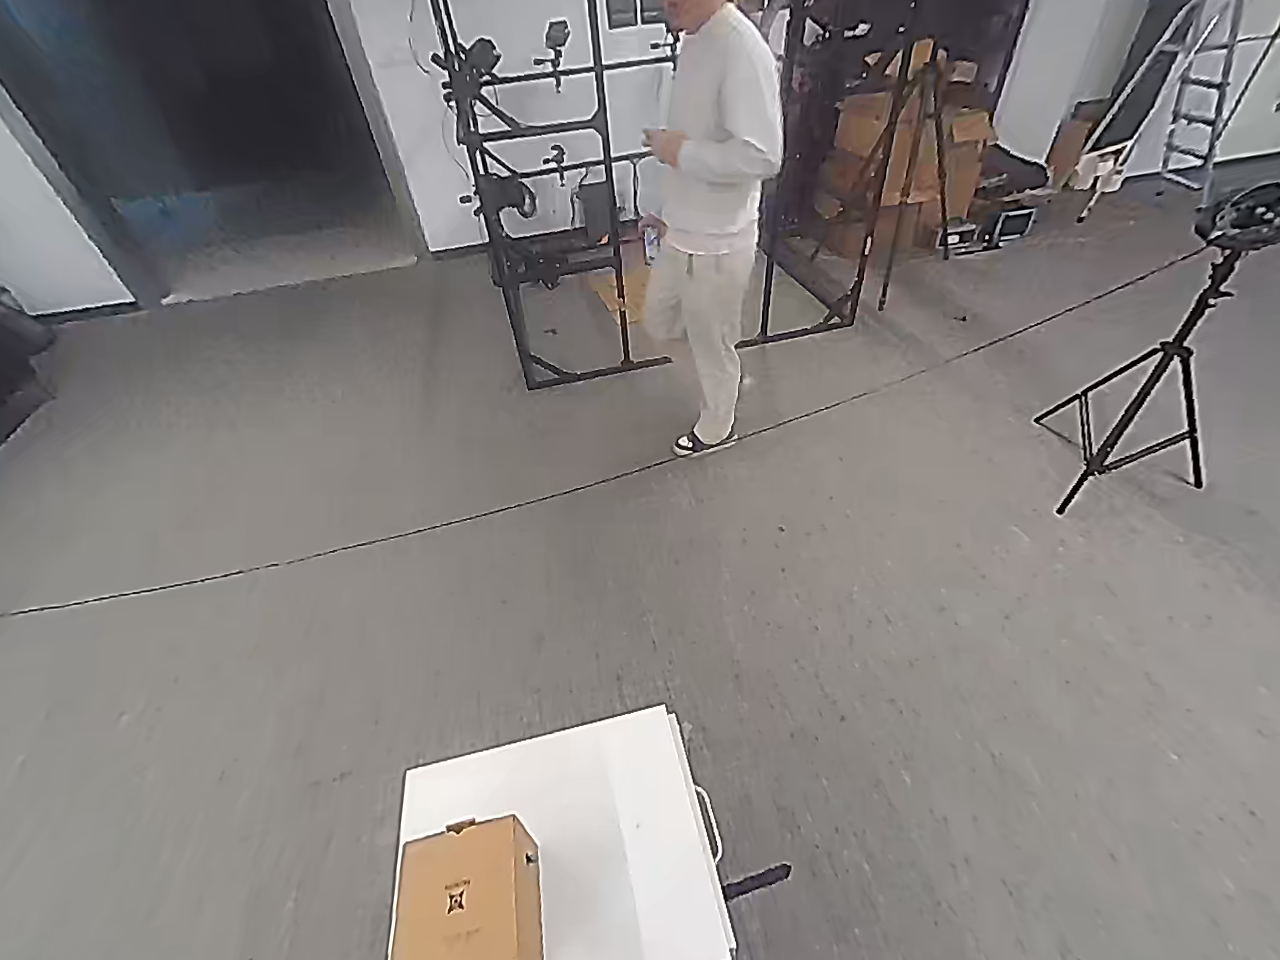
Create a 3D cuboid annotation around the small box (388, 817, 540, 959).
[{"bbox_3d":[-0.243,0.629,0.783,0.168,0.176,0.179,-11,42,-5],"label":"small box"}]
